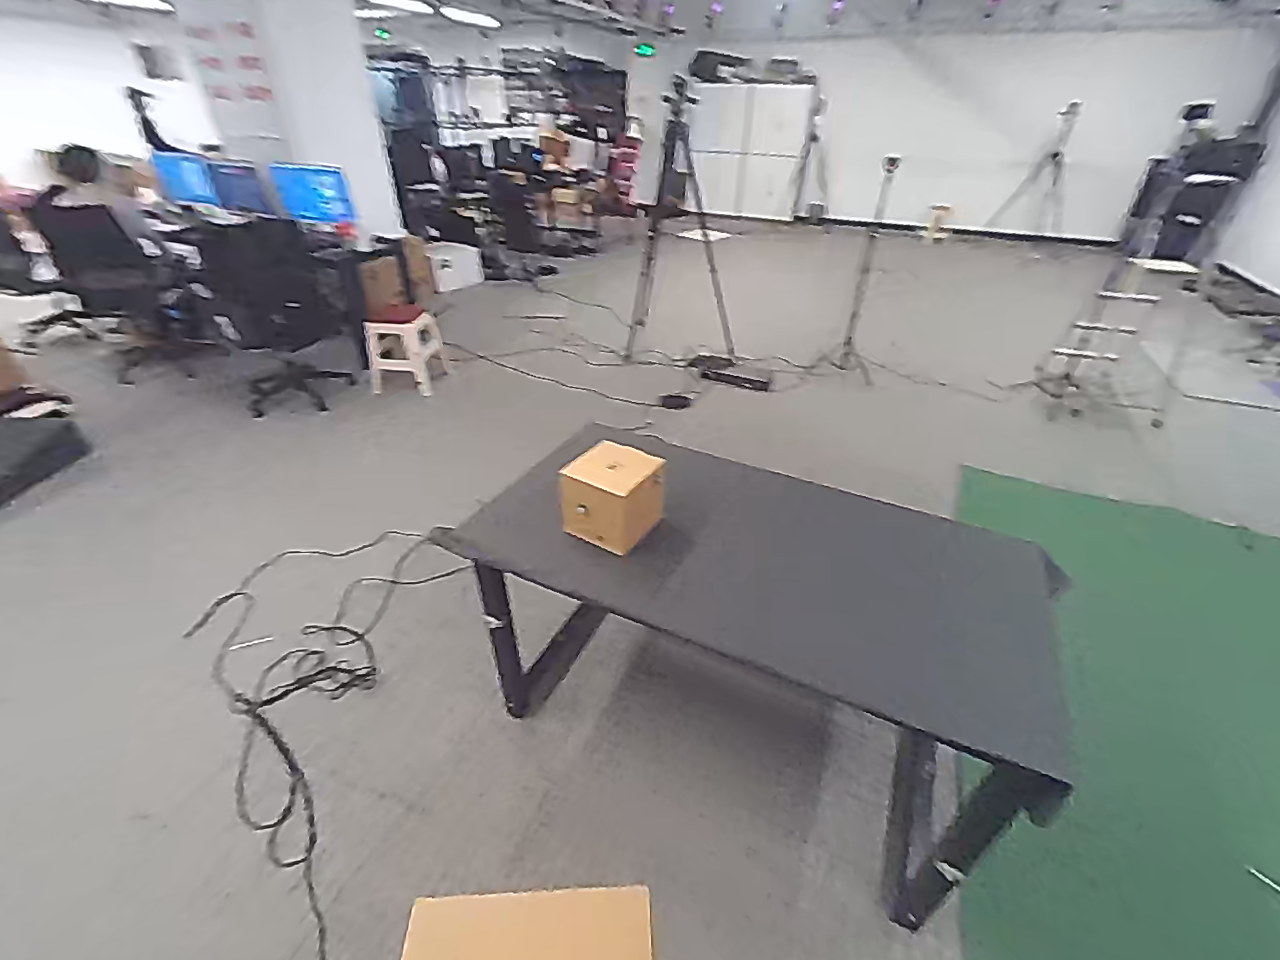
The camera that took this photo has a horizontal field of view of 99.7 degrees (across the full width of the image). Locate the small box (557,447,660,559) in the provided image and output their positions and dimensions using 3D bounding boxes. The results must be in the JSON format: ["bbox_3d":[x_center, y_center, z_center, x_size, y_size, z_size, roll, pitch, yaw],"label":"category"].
[{"bbox_3d":[-0.067,0.051,1.231,0.168,0.176,0.179,20,37,25],"label":"small box"}]

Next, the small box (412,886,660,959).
[{"bbox_3d":[-0.067,0.406,0.371,0.168,0.176,0.179,-2,43,1],"label":"small box"}]
